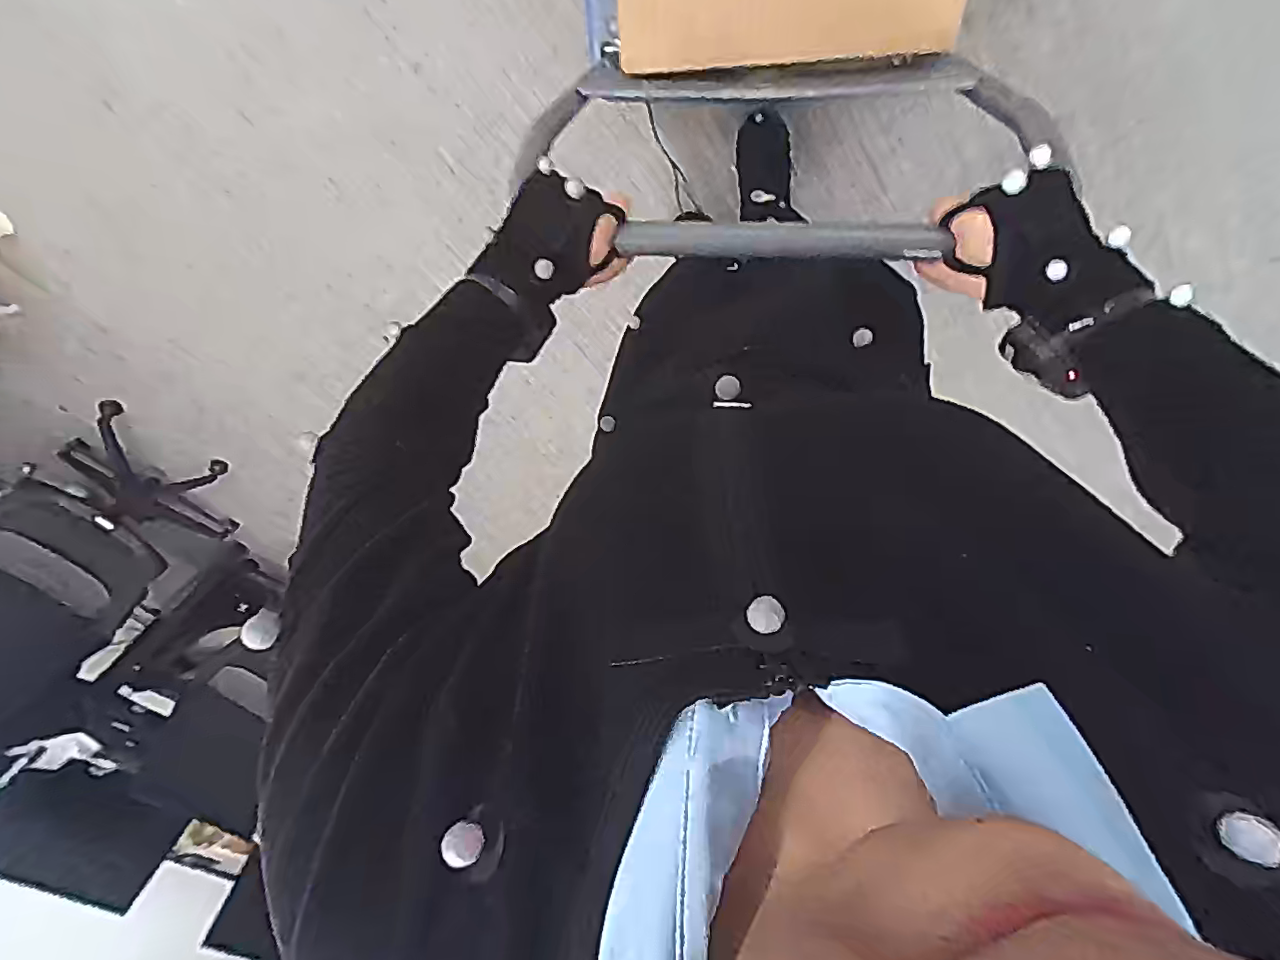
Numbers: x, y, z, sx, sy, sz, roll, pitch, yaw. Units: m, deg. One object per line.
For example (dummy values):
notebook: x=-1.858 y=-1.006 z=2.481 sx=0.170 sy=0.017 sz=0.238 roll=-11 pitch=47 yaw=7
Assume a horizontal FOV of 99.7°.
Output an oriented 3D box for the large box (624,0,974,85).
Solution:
large box: x=0.186 y=-0.717 z=0.676 sx=0.408 sy=0.320 sz=0.320 roll=1 pitch=132 yaw=8
